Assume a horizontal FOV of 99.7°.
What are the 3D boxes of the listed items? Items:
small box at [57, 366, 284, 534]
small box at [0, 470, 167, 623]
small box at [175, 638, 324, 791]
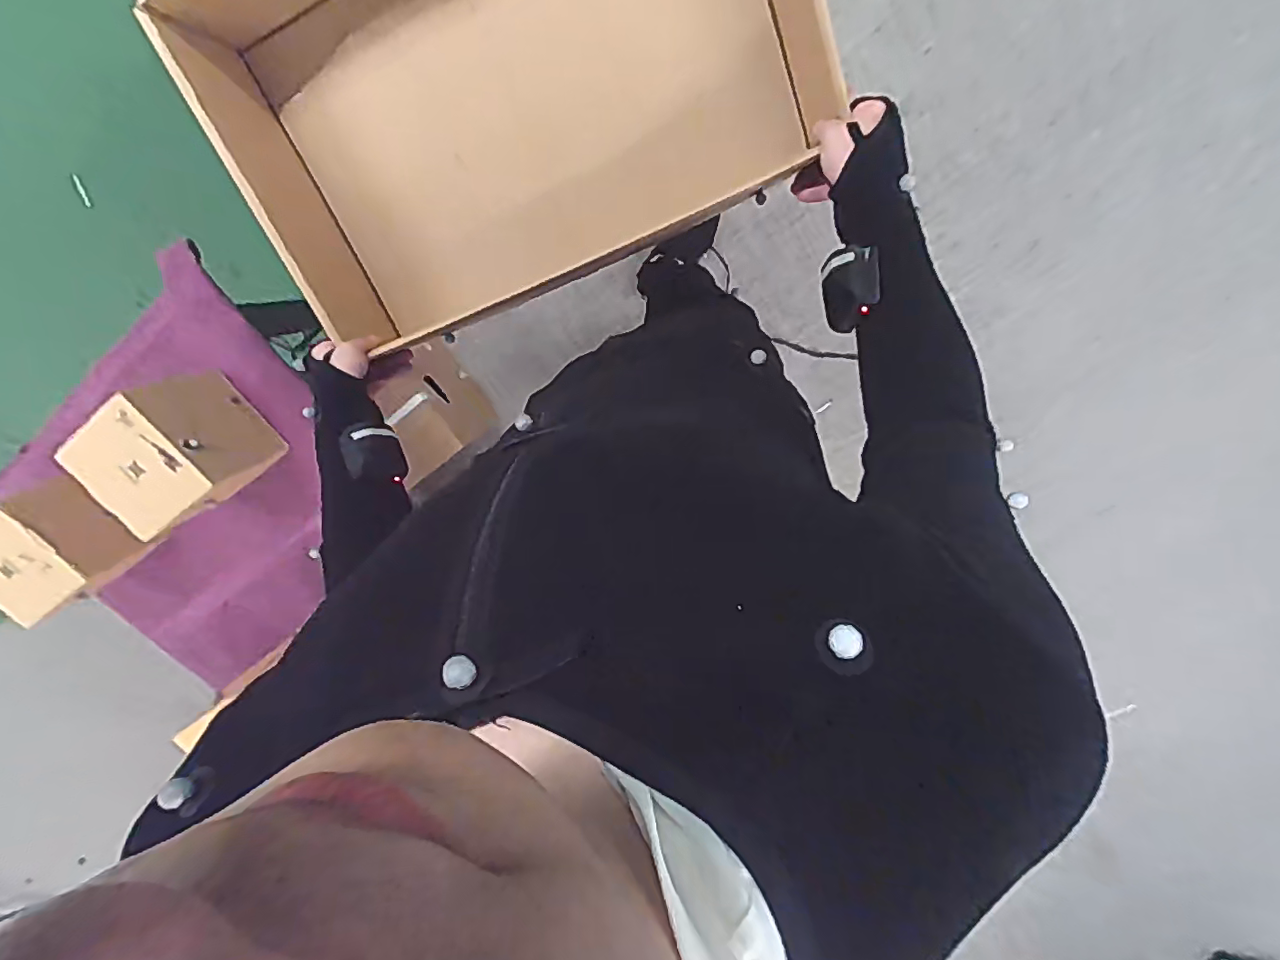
[{"bbox_3d":[-0.711,-0.052,0.841,0.179,0.176,0.168,-31,108,17],"label":"small box"},{"bbox_3d":[-0.975,0.101,0.916,0.179,0.176,0.168,-32,108,14],"label":"small box"},{"bbox_3d":[-0.708,0.441,1.034,0.179,0.176,0.168,-34,105,14],"label":"small box"}]
